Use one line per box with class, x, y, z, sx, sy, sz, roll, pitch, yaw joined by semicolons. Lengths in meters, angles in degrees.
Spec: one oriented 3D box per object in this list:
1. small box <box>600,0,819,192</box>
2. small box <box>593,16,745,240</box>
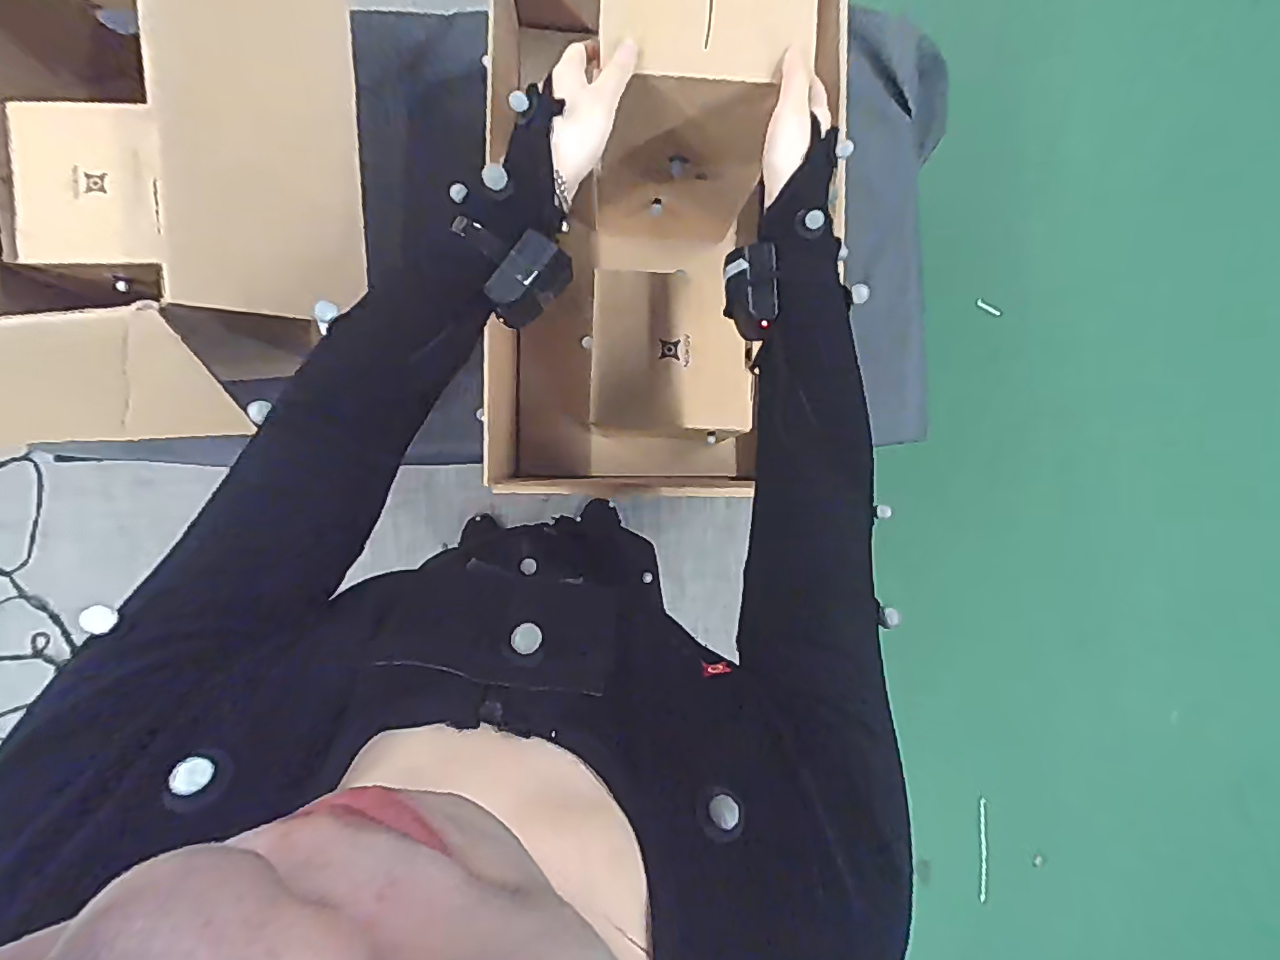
small box;0.049;-0.391;0.484;0.168;0.176;0.179;1;94;-4
small box;0.038;-0.404;0.648;0.179;0.176;0.168;2;94;-3
